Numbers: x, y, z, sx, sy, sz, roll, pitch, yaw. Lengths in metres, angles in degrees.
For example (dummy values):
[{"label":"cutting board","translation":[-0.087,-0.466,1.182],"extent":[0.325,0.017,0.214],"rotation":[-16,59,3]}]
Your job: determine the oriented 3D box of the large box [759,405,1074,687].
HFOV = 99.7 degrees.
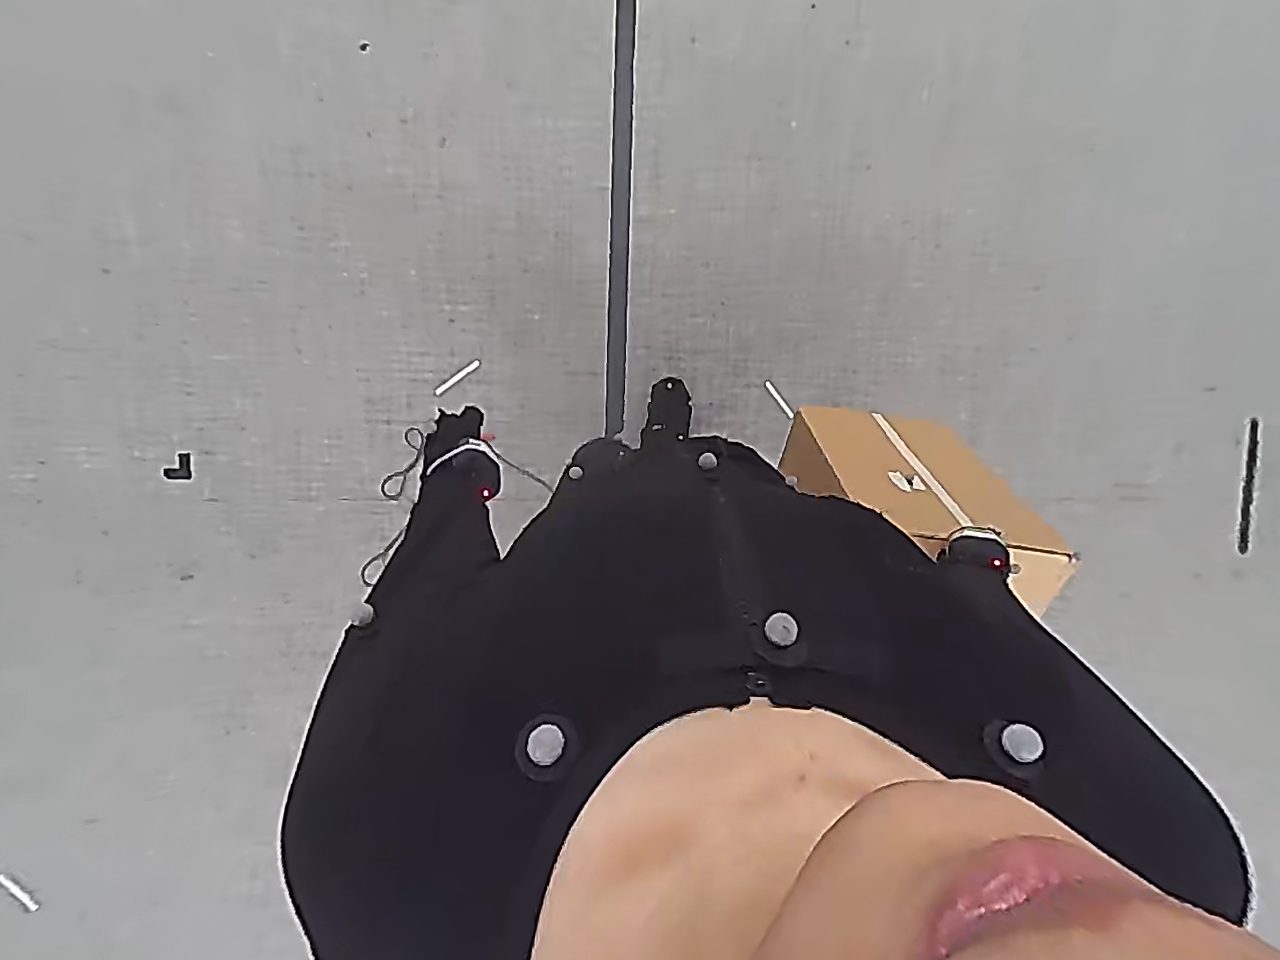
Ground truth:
[{"label":"large box","translation":[0.441,0.103,0.995],"extent":[0.320,0.408,0.320],"rotation":[8,123,-4]}]
